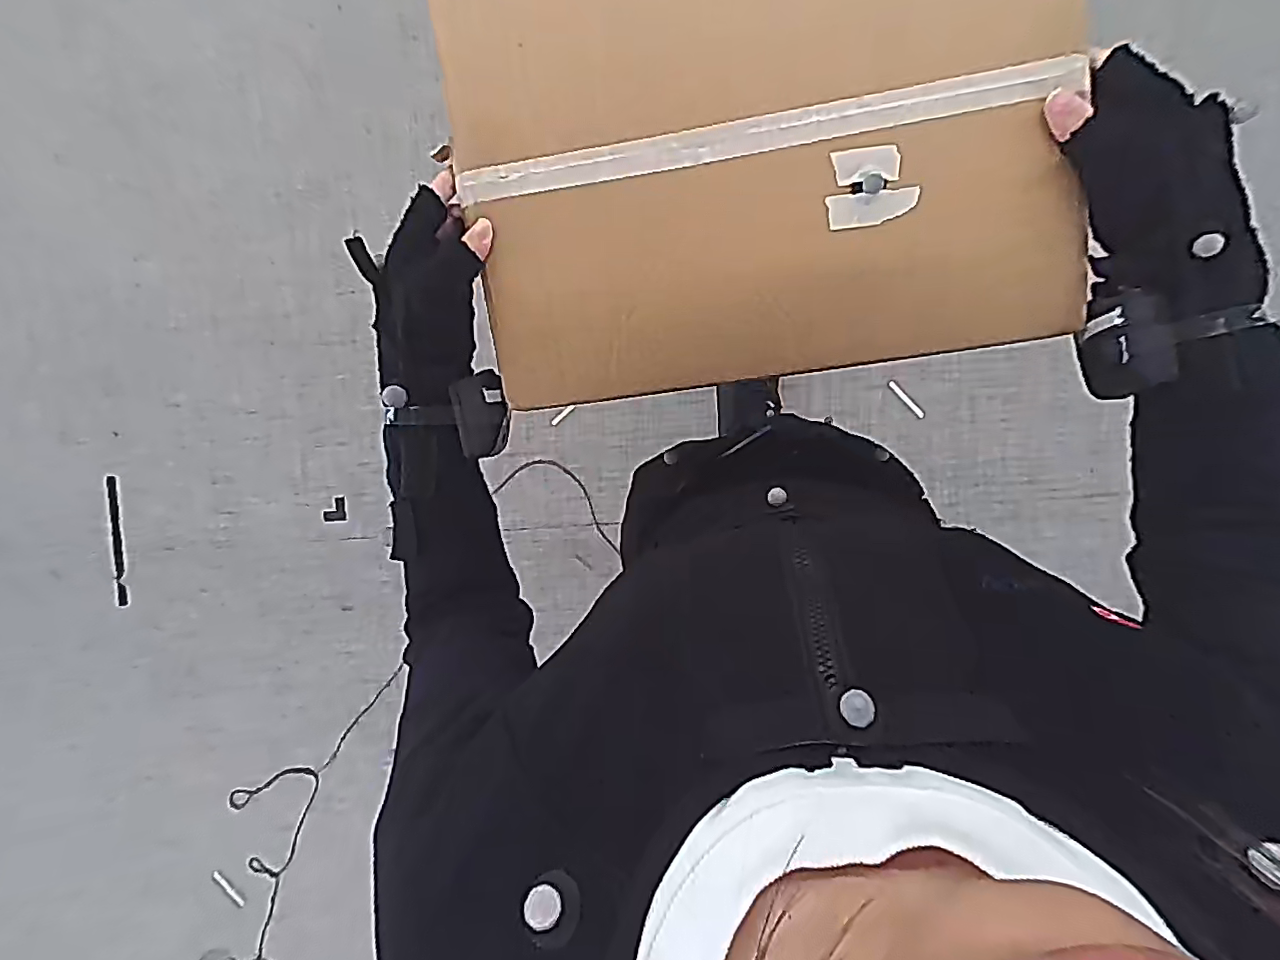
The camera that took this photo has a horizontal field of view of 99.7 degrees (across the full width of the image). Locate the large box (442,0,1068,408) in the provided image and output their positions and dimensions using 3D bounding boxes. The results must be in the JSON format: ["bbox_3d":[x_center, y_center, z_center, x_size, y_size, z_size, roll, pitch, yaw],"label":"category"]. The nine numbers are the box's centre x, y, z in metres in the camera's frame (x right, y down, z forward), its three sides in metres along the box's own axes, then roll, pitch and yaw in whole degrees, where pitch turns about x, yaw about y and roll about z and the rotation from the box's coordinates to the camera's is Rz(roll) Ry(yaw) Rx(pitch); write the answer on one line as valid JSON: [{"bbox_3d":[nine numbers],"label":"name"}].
[{"bbox_3d":[0.088,-0.261,0.515,0.408,0.320,0.320,-8,101,5],"label":"large box"}]
